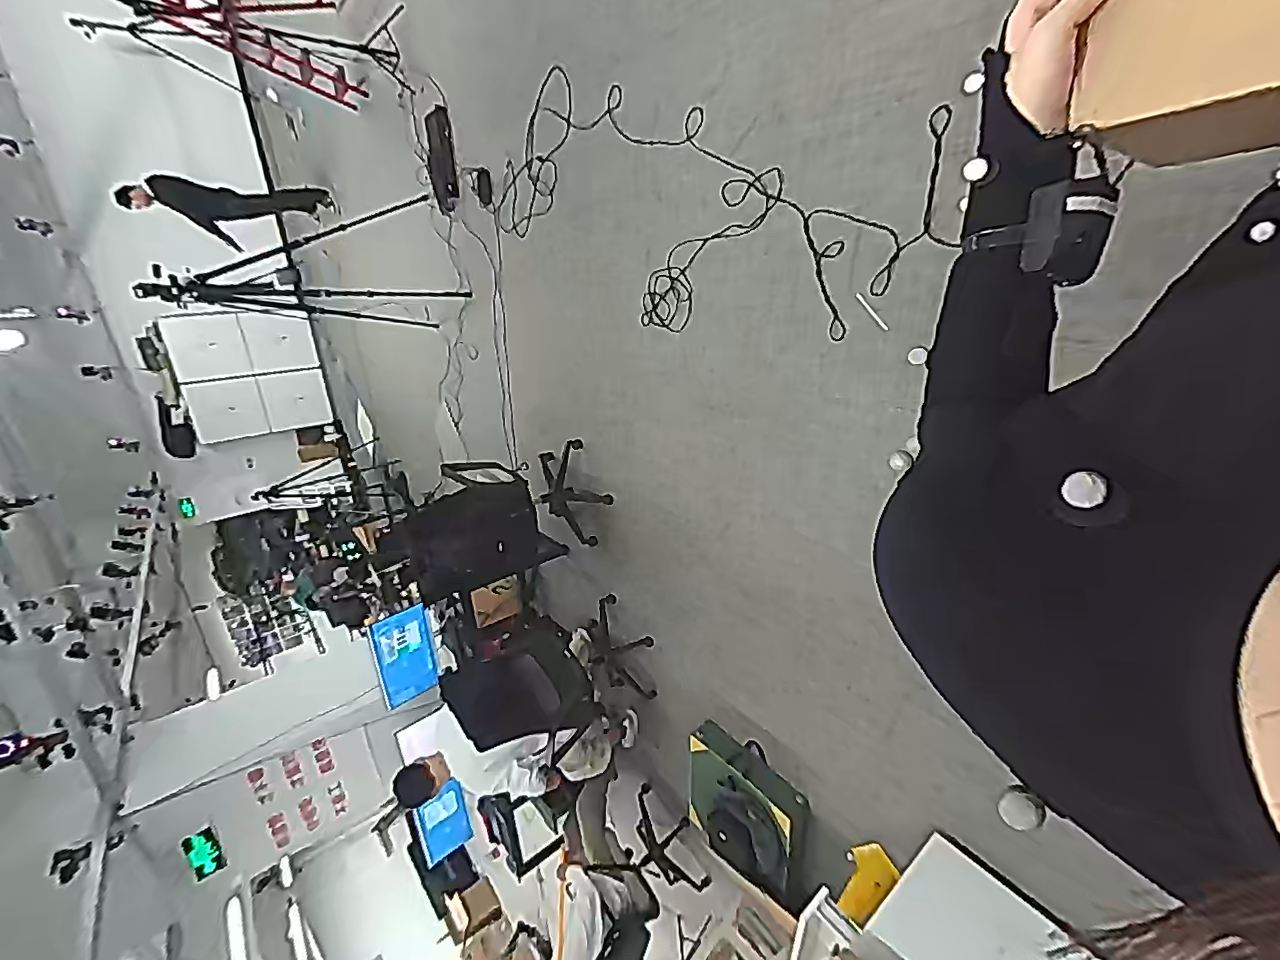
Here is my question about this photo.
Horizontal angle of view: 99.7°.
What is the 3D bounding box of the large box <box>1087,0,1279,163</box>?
[{"bbox_3d":[0.538,-0.406,0.287,0.408,0.320,0.320,13,116,47],"label":"large box"}]
